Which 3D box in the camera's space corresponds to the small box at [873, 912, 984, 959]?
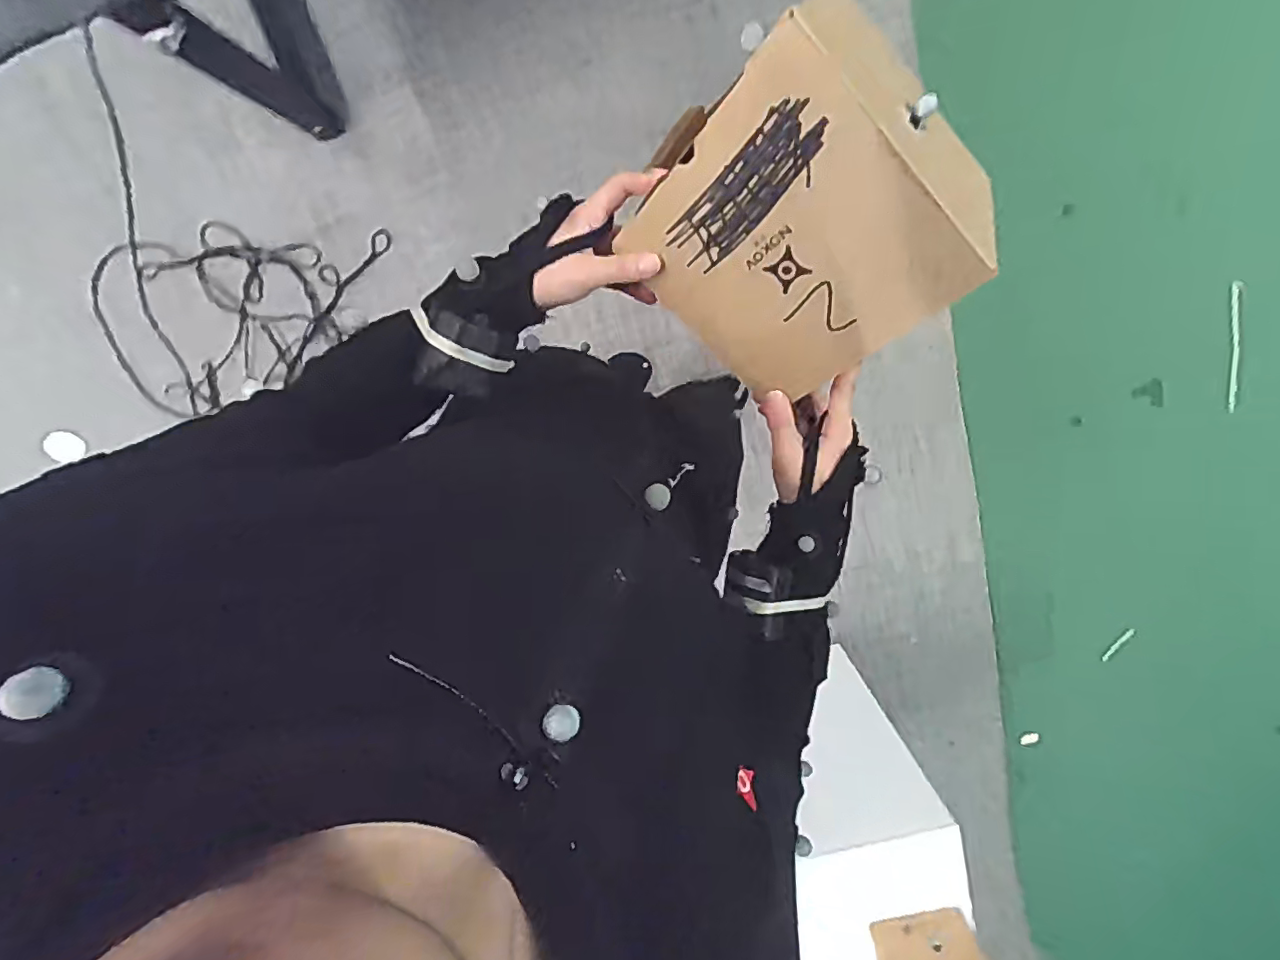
[{"bbox_3d":[0.523,0.901,0.932,0.168,0.176,0.179,-14,105,4],"label":"small box"}]
